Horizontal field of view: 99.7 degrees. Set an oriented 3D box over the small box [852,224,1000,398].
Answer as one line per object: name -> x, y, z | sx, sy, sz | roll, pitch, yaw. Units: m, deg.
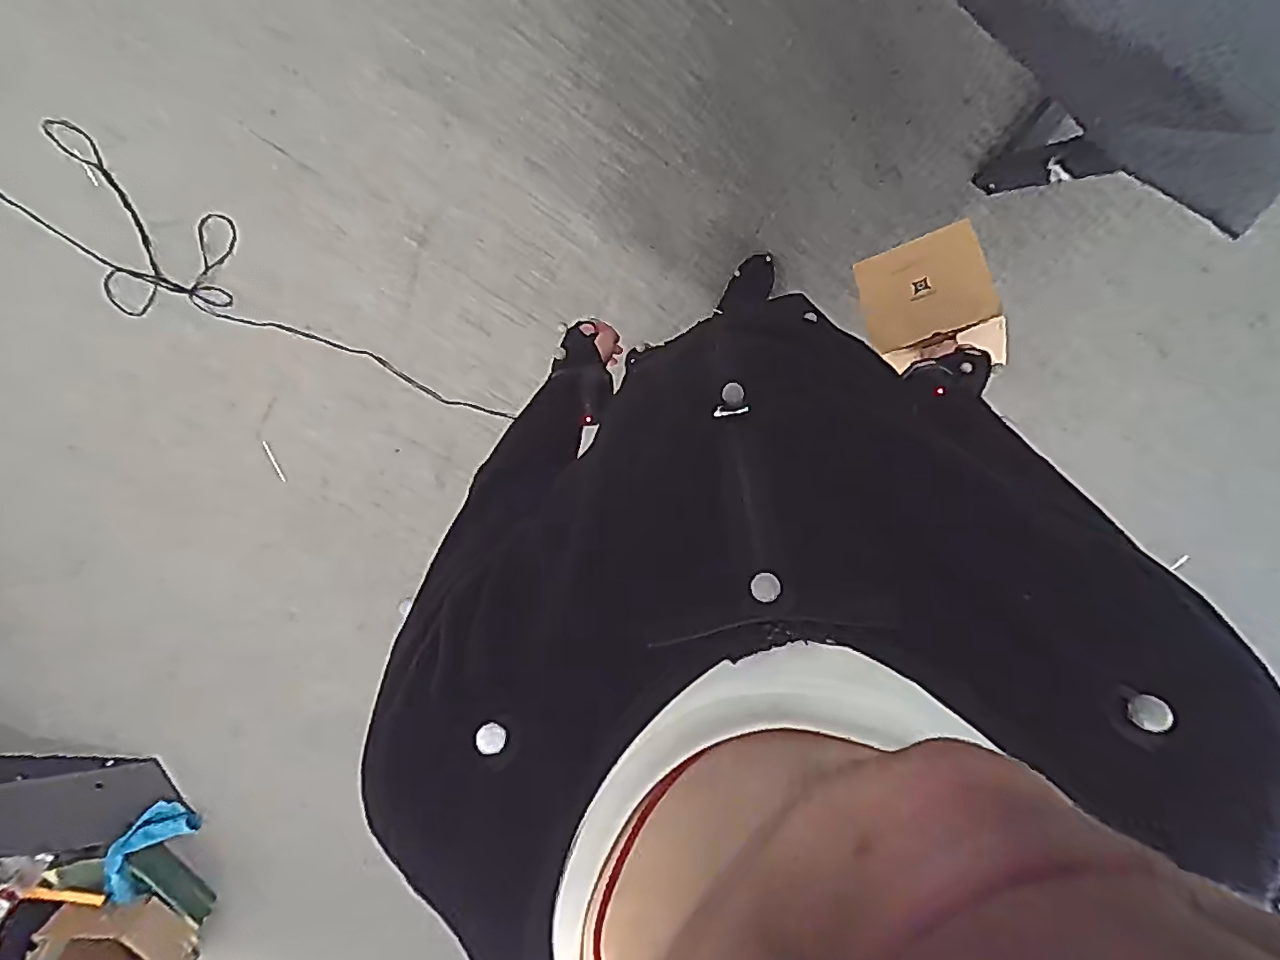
small box -> 0.446, -0.247, 0.843 | 0.168, 0.179, 0.176 | -14, 153, 28
